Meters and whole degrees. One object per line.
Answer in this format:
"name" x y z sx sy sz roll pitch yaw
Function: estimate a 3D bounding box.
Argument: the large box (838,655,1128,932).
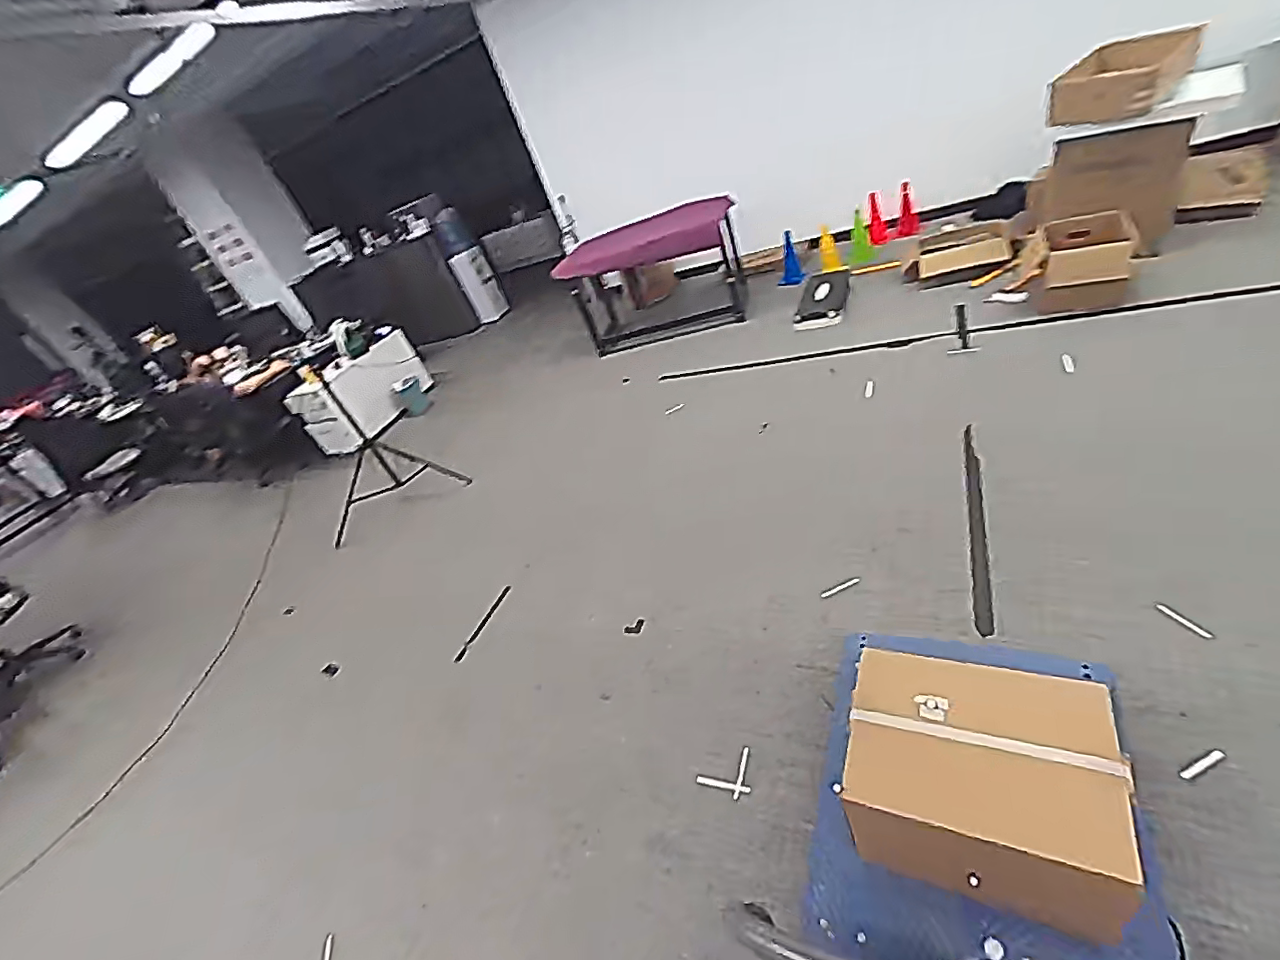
"large box" 0.633 0.580 1.045 0.408 0.320 0.320 -2 39 31
